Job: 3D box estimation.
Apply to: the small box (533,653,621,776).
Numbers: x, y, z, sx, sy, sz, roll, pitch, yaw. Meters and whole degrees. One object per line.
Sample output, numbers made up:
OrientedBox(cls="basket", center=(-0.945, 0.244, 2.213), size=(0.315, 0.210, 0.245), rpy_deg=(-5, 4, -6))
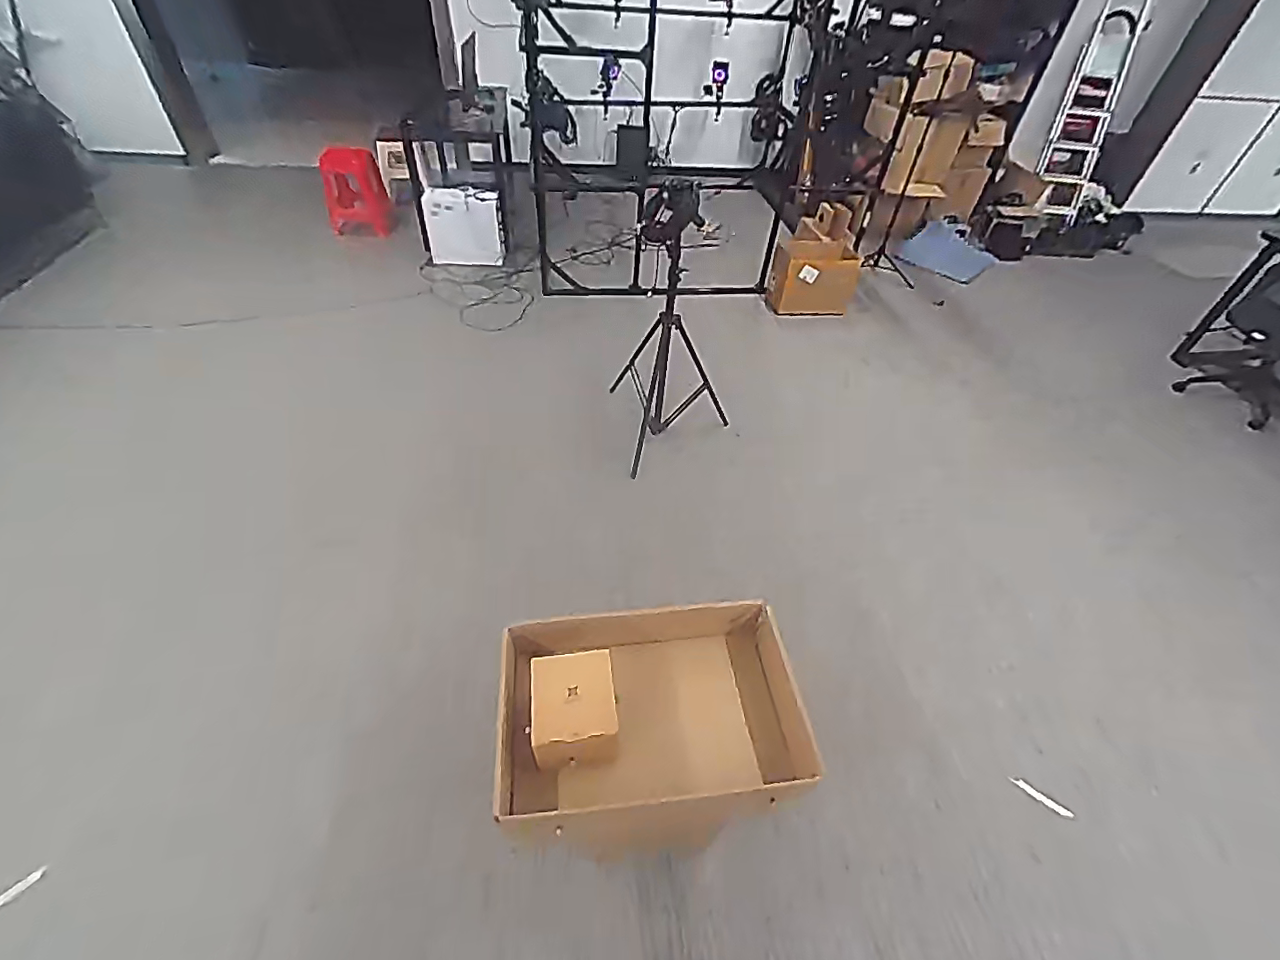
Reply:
OrientedBox(cls="small box", center=(-0.134, 0.487, 1.125), size=(0.168, 0.176, 0.179), rpy_deg=(-5, 46, -8))
